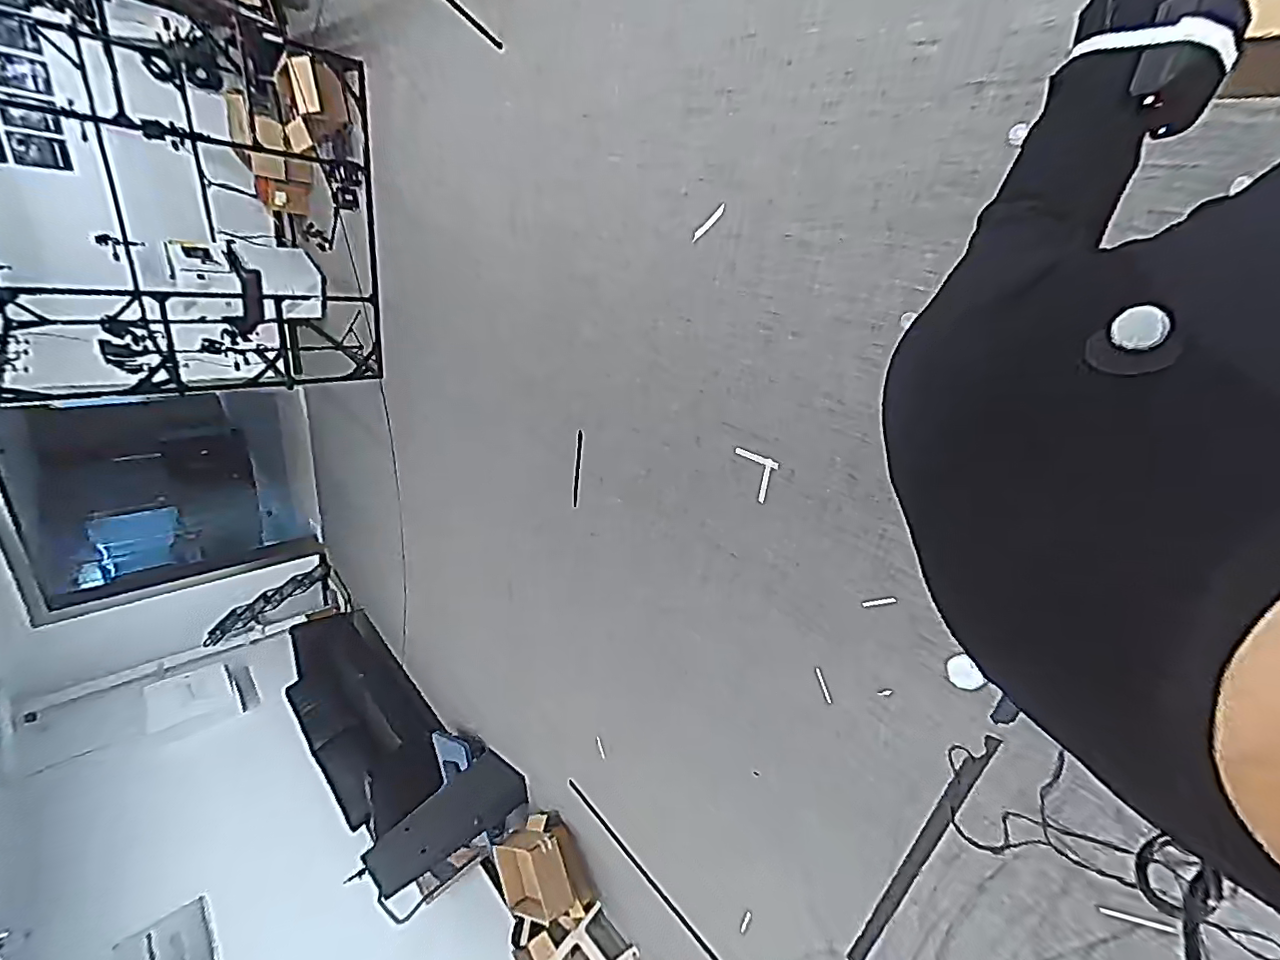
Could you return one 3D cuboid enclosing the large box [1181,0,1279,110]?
[{"bbox_3d":[0.637,-0.422,0.304,0.408,0.320,0.320,25,127,35],"label":"large box"}]
